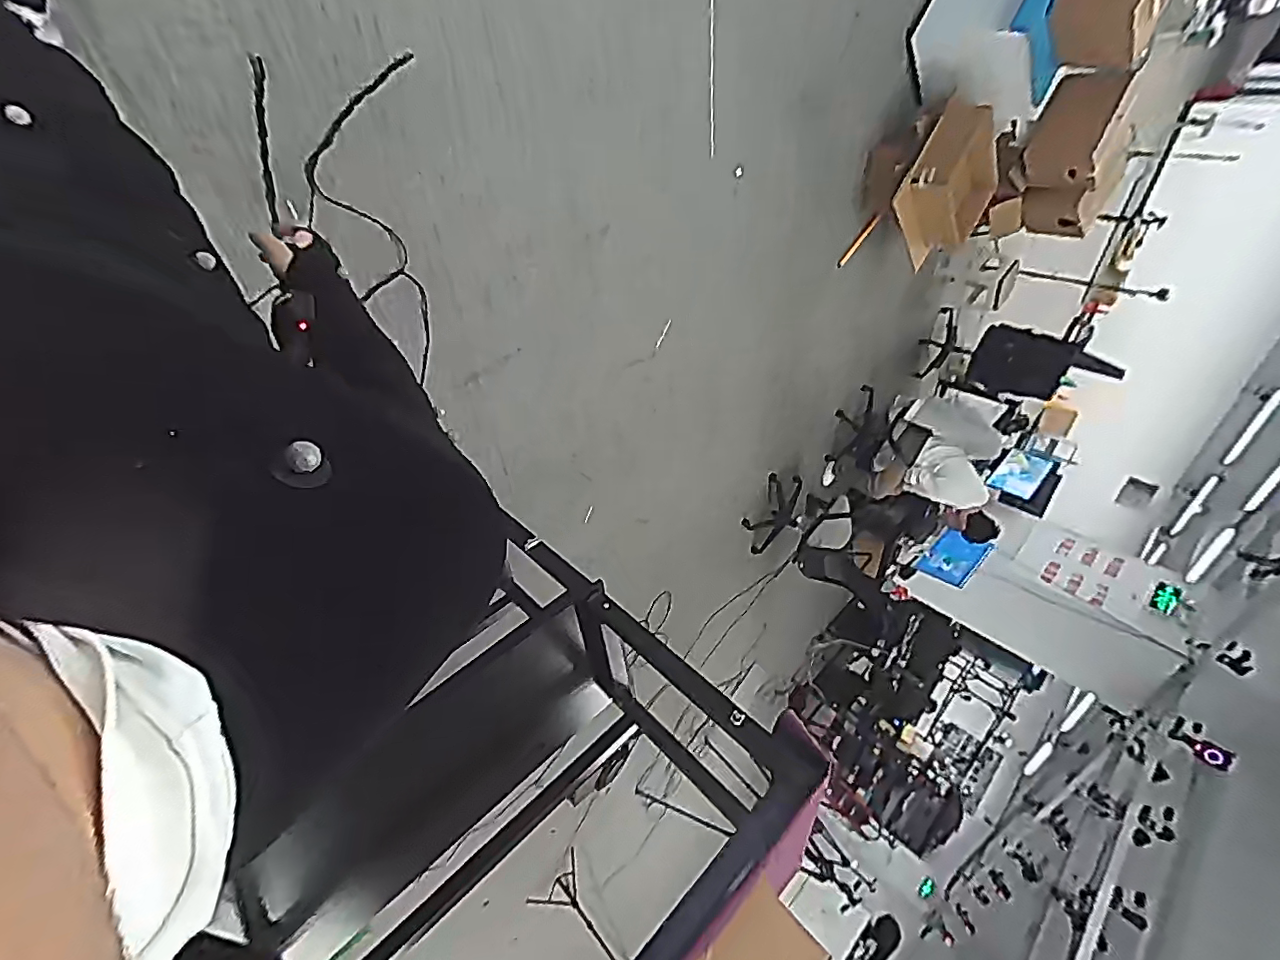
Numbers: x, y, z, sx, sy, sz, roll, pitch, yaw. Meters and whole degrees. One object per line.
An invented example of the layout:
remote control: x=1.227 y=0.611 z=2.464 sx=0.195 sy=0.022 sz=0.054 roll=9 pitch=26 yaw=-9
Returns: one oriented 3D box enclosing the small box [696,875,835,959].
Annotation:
small box: x=0.218 y=0.871 z=0.977 sx=0.179 sy=0.176 sz=0.168 roll=-30 pitch=135 yaw=-32
